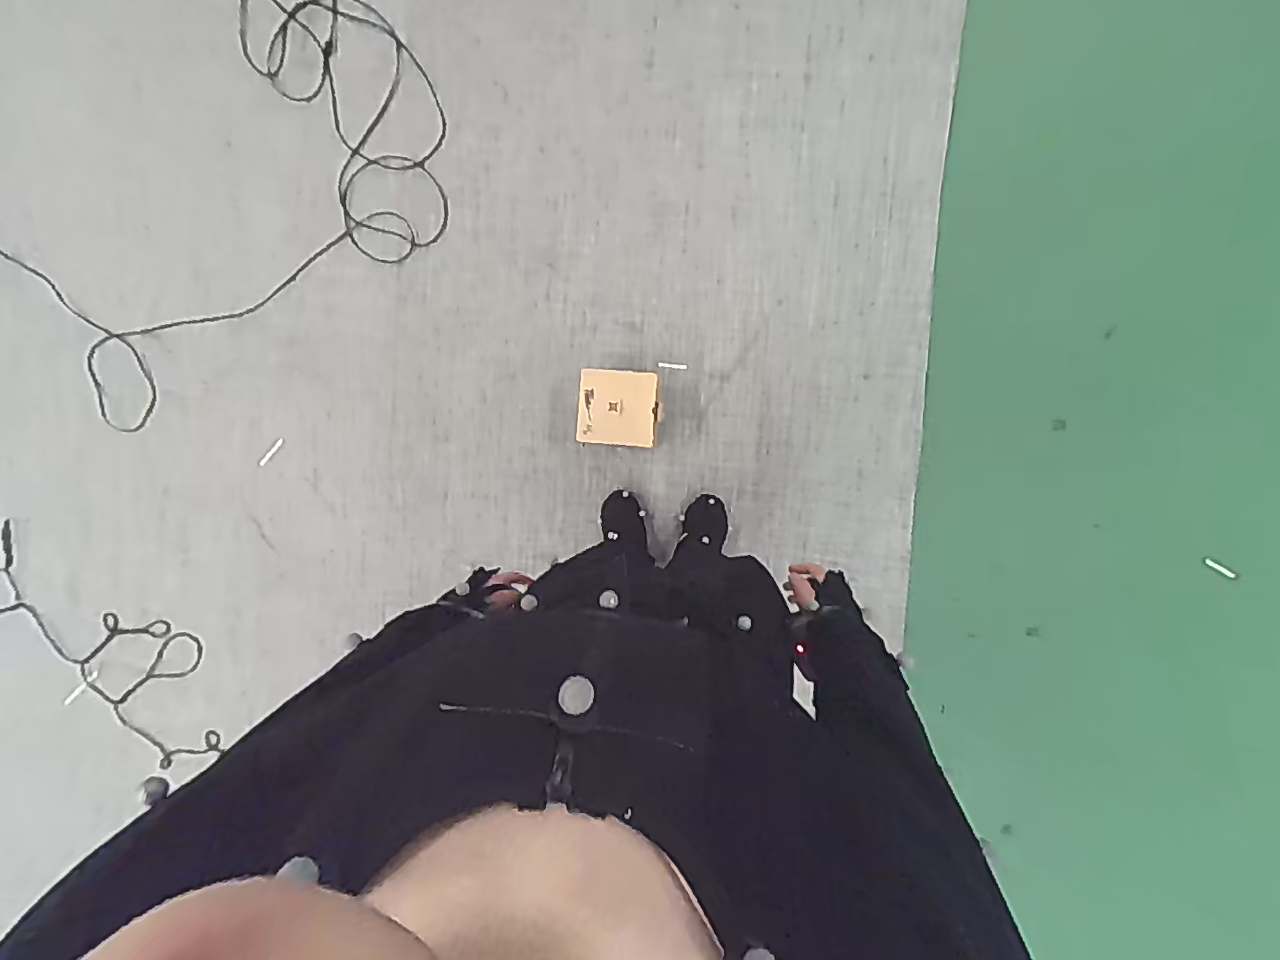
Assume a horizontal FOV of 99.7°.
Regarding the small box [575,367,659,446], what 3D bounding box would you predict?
[{"bbox_3d":[-0.048,-0.171,1.282,0.179,0.176,0.168,4,94,4],"label":"small box"}]
